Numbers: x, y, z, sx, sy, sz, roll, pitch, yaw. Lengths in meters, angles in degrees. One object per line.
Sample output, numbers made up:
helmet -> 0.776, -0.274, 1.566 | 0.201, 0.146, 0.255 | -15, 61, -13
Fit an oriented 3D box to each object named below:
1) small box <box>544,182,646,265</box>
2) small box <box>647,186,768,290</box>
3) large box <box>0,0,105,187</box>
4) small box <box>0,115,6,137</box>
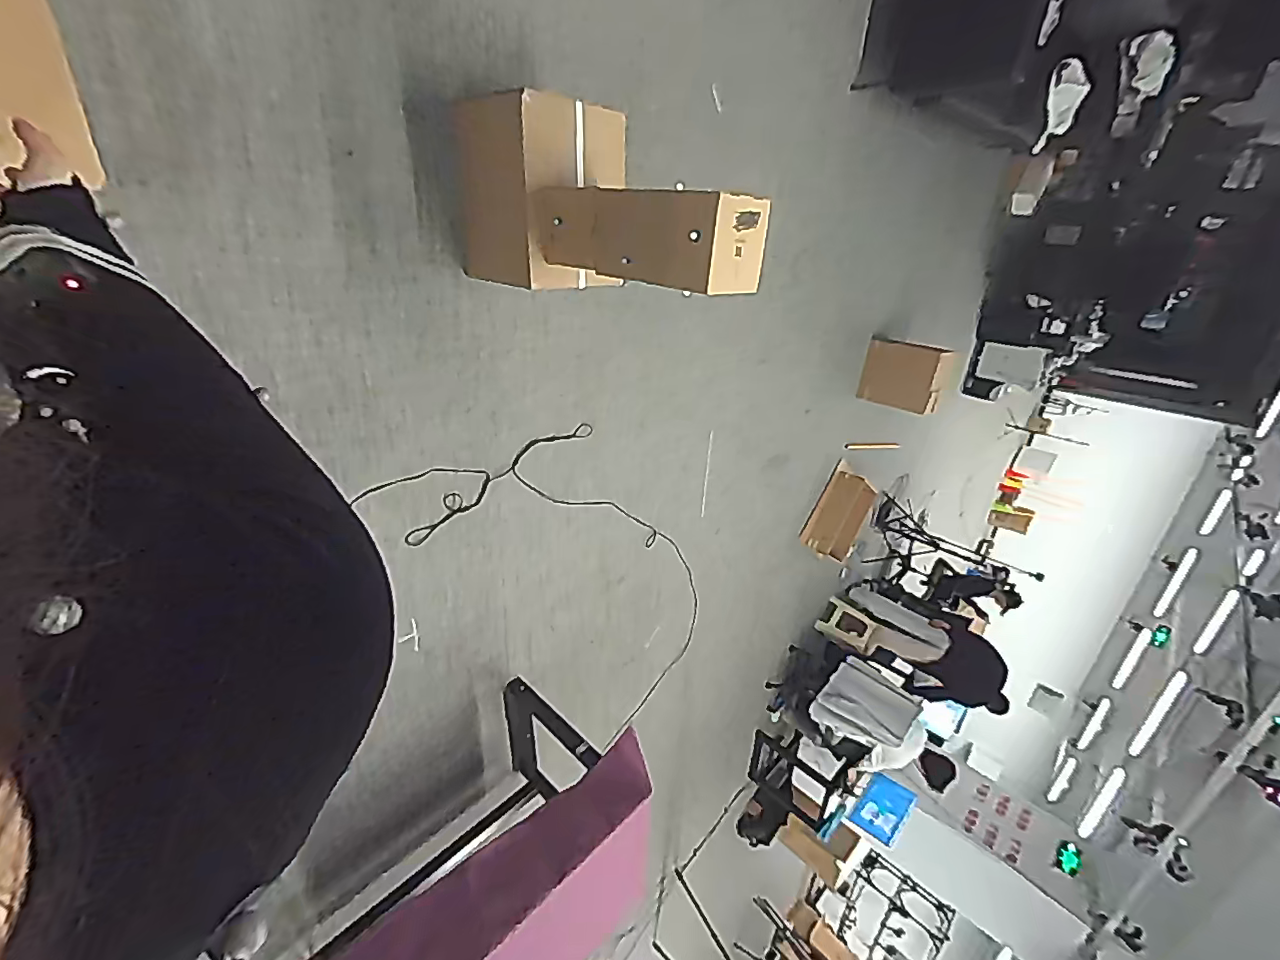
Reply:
small box -> -0.107, -0.608, 1.279 | 0.179, 0.176, 0.168 | -23, 127, -39
small box -> 0.130, -0.485, 1.085 | 0.168, 0.176, 0.179 | -20, 126, -41
large box -> -0.967, -0.601, 0.680 | 0.320, 0.320, 0.408 | -23, 125, -41
small box -> -0.809, -0.451, 0.549 | 0.179, 0.176, 0.168 | -23, 125, -39
